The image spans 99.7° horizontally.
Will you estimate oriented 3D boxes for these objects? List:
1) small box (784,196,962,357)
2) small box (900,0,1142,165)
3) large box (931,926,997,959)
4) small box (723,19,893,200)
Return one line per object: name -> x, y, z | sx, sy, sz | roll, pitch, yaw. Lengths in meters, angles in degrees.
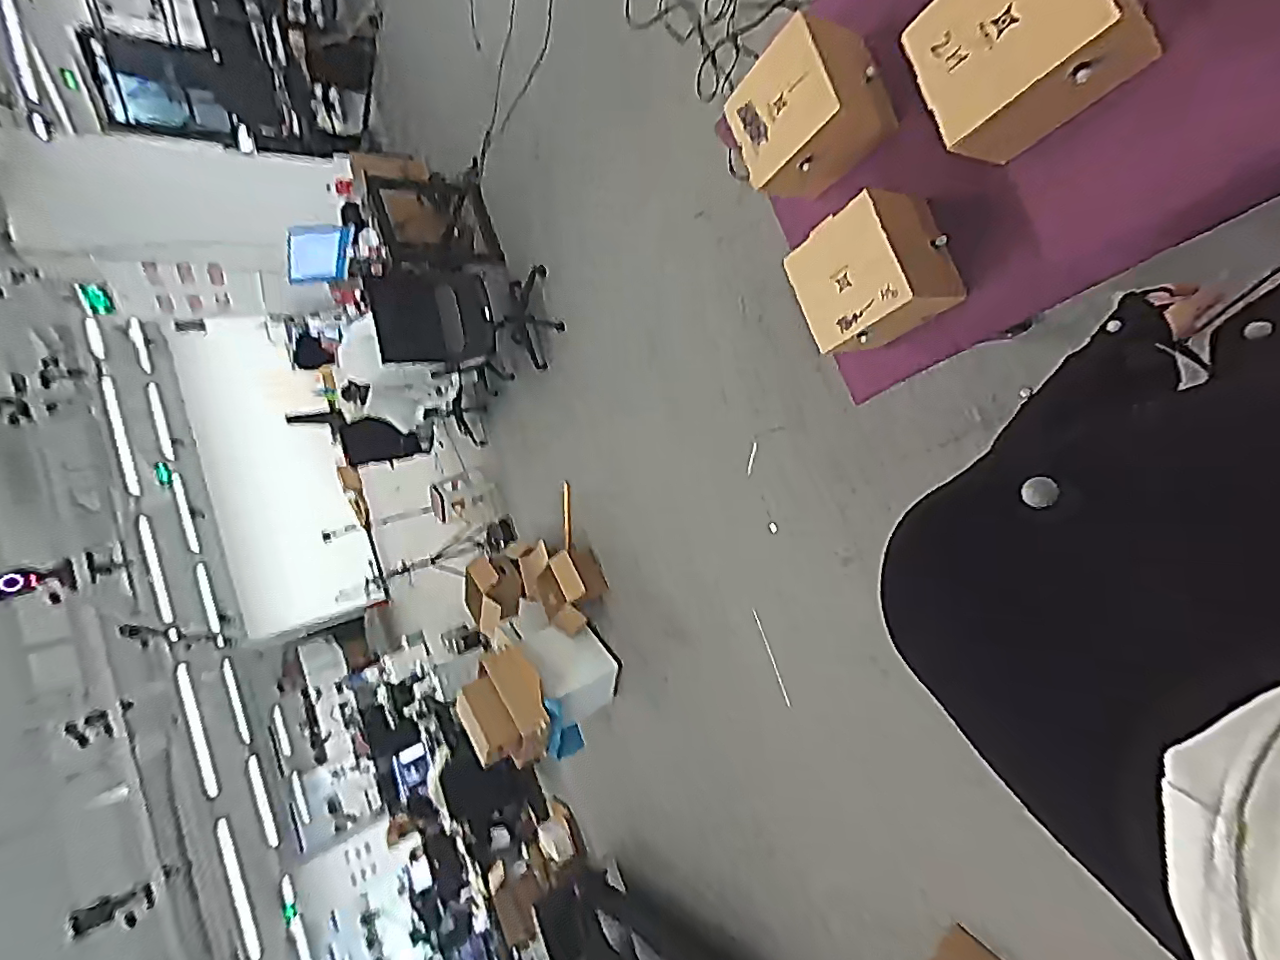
small box -> 0.369, -0.314, 0.862 | 0.168, 0.176, 0.179 | -31, 76, 55
small box -> 0.461, -0.517, 0.654 | 0.179, 0.176, 0.168 | -26, 81, 55
large box -> 1.160, 1.845, 1.793 | 0.408, 0.320, 0.320 | 24, 123, 47
small box -> 0.273, -0.588, 0.889 | 0.179, 0.176, 0.168 | -27, 81, 54
